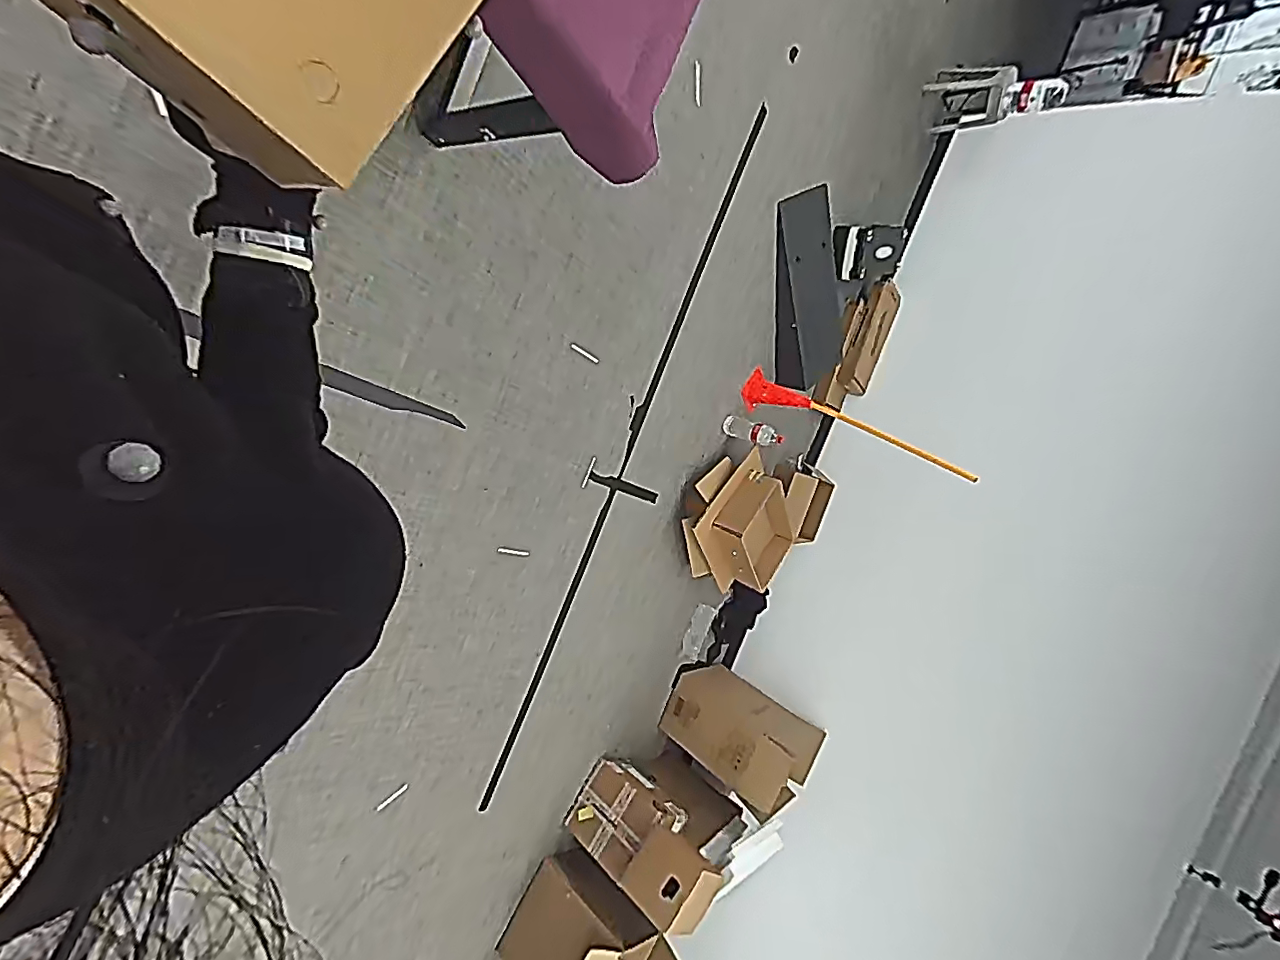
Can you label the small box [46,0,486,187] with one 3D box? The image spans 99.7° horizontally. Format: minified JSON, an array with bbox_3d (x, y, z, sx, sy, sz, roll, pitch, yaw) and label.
[{"bbox_3d":[-0.208,-0.289,0.295,0.168,0.176,0.179,36,84,-48],"label":"small box"}]
